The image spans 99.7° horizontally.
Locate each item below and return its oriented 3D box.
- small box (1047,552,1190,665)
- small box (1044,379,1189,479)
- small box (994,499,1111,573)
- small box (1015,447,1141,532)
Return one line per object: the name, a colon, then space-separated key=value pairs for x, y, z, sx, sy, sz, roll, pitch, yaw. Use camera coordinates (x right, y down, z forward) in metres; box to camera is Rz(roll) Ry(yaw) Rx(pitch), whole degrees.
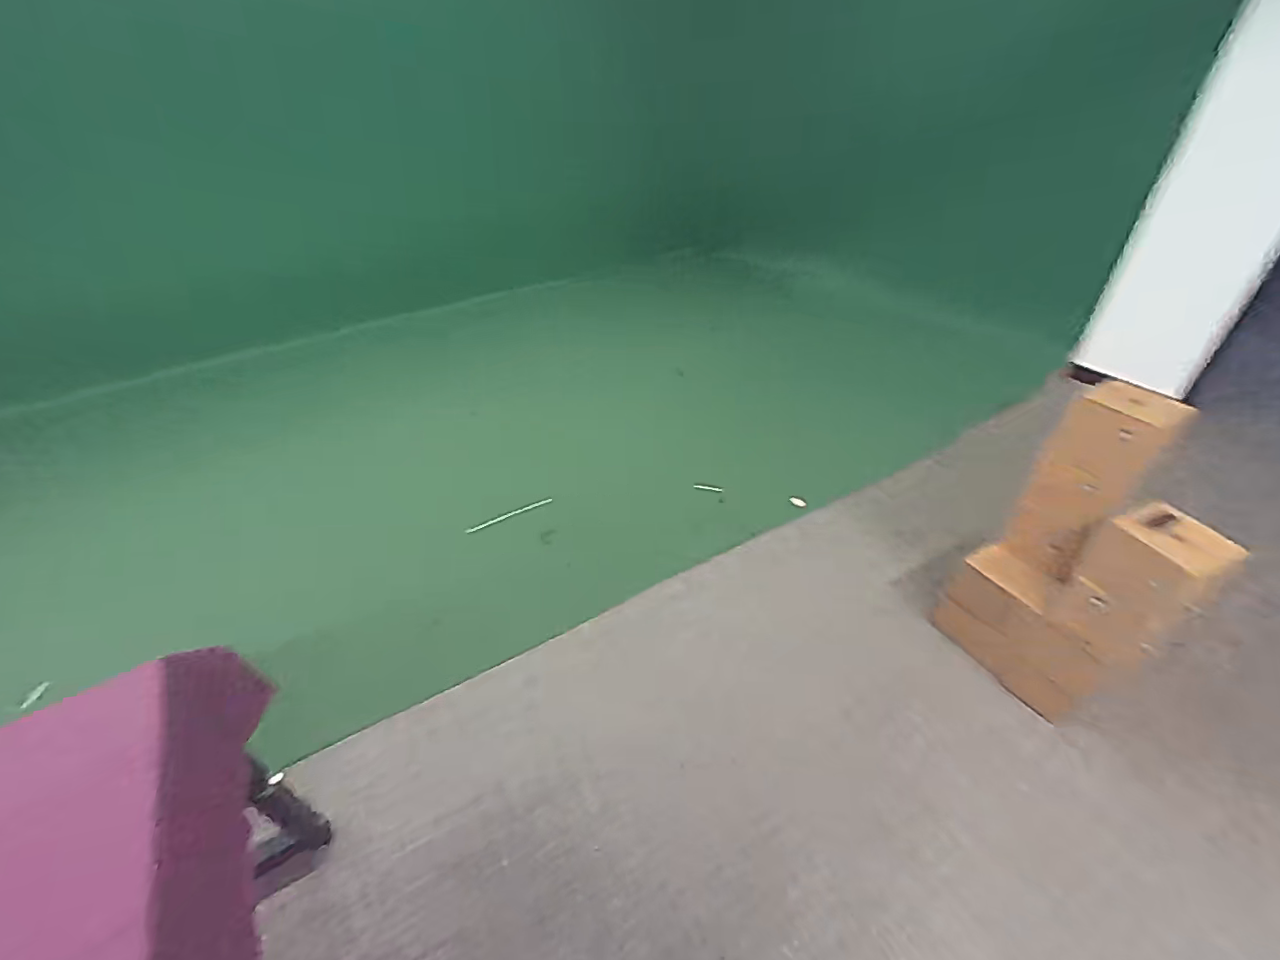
small box: x=1.139 y=0.309 z=1.304 sx=0.179 sy=0.176 sz=0.168 roll=-18 pitch=42 yaw=-19
small box: x=1.149 y=-0.119 z=1.316 sx=0.168 sy=0.176 sz=0.179 roll=-19 pitch=42 yaw=-23
small box: x=1.148 y=0.139 z=1.518 sx=0.168 sy=0.176 sz=0.179 roll=-22 pitch=42 yaw=-24
small box: x=1.143 y=0.007 z=1.423 sx=0.168 sy=0.176 sz=0.179 roll=-20 pitch=43 yaw=-24
